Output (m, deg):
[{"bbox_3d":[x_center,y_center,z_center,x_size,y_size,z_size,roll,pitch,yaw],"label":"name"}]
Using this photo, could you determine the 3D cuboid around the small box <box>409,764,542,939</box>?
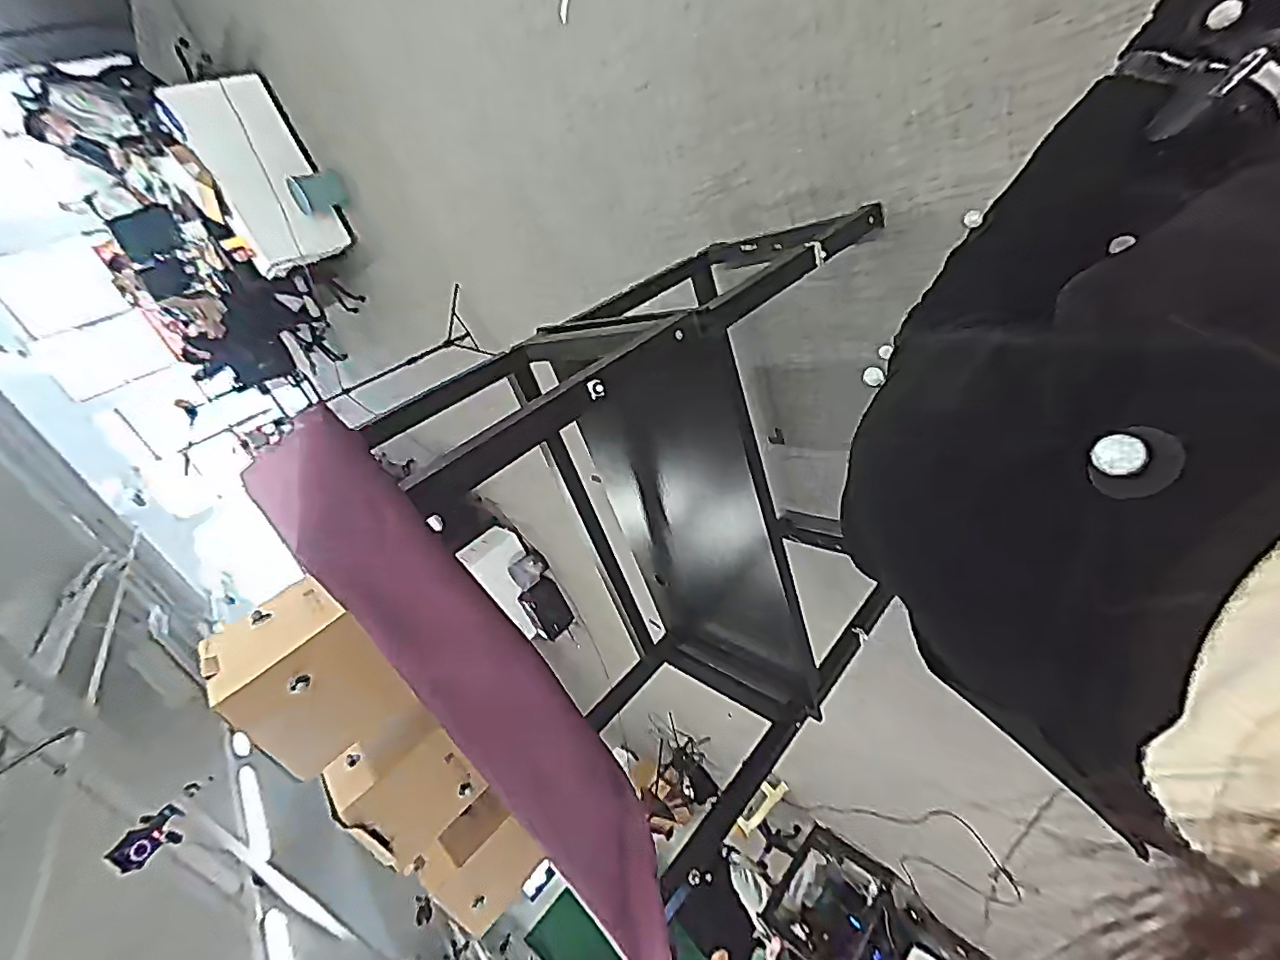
[{"bbox_3d":[-0.310,0.675,0.999,0.168,0.176,0.179,16,136,45],"label":"small box"}]

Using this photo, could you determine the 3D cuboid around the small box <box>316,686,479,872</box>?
[{"bbox_3d":[-0.386,0.464,0.871,0.179,0.176,0.168,14,134,48],"label":"small box"}]

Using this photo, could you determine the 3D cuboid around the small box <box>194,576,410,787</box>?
[{"bbox_3d":[-0.454,0.262,0.739,0.168,0.176,0.179,19,138,45],"label":"small box"}]
